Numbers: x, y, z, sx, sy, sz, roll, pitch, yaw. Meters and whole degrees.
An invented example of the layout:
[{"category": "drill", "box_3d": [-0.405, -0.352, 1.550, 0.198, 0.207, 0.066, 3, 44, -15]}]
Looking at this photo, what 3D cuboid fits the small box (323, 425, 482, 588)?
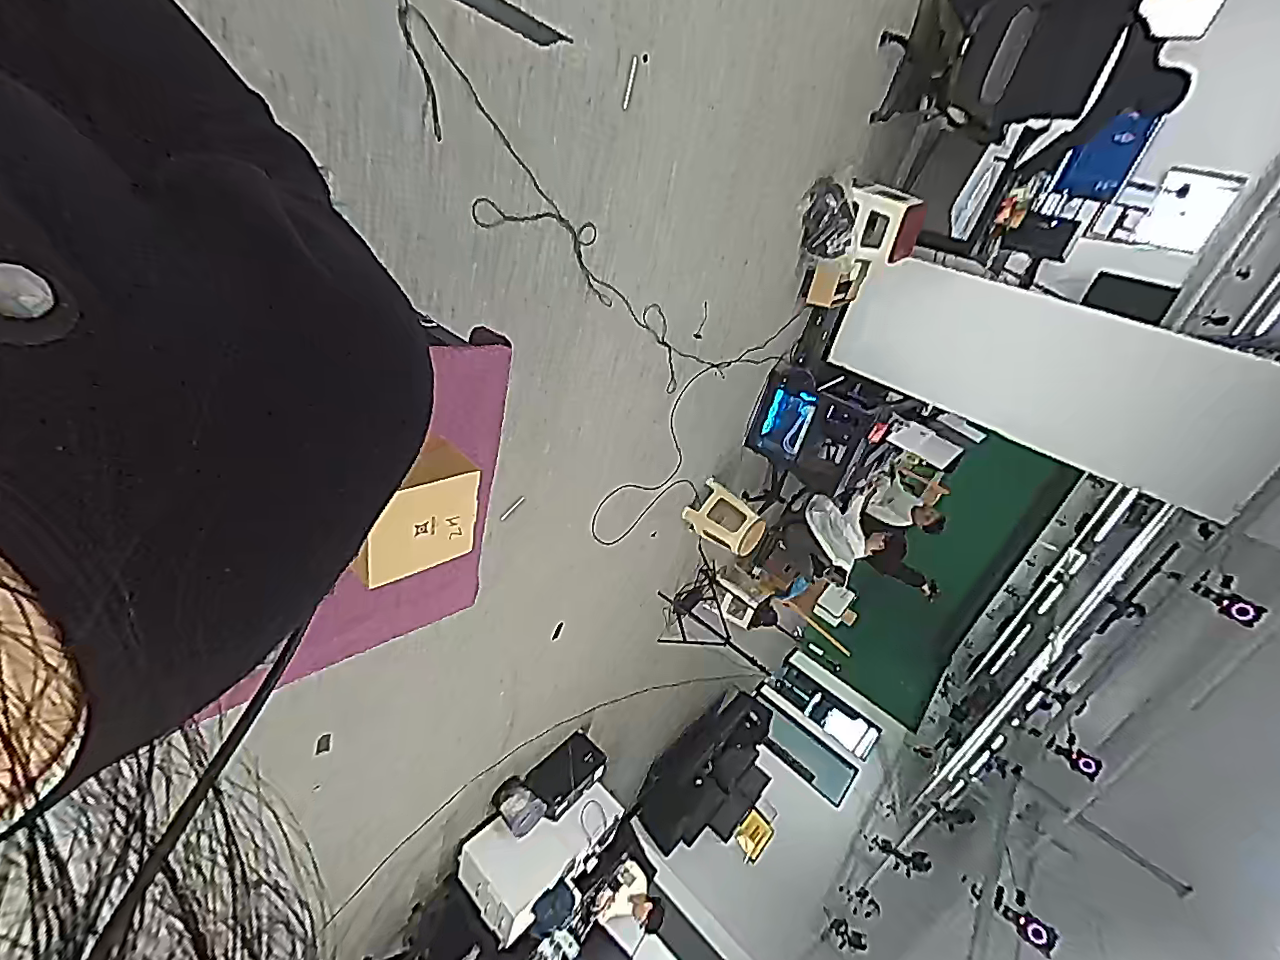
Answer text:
[{"category": "small box", "box_3d": [-0.376, 0.031, 0.848, 0.179, 0.176, 0.168, -21, 136, -46]}]
